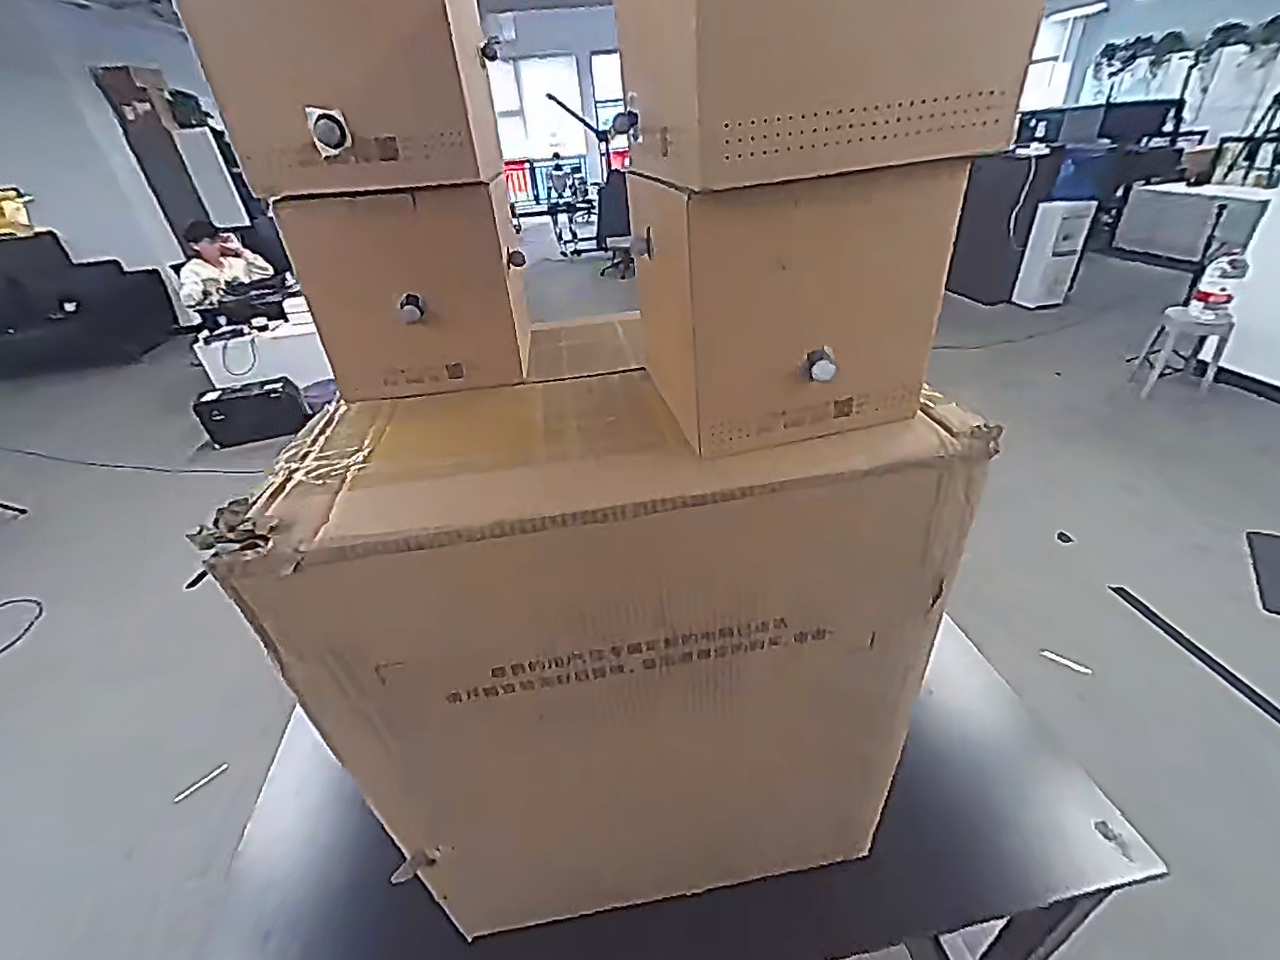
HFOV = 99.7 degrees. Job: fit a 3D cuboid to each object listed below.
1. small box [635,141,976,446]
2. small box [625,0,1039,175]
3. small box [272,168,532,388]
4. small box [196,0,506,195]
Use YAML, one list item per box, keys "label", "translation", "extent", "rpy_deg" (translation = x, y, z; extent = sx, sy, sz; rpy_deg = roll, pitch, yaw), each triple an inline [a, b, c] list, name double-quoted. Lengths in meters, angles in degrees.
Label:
- label: "small box"
  translation: [0.097, -0.145, 0.400]
  extent: [0.168, 0.176, 0.179]
  rpy_deg: [-12, 34, -6]
- label: "small box"
  translation: [0.090, -0.269, 0.289]
  extent: [0.179, 0.176, 0.168]
  rpy_deg: [-12, 35, -8]
- label: "small box"
  translation: [-0.200, -0.194, 0.519]
  extent: [0.168, 0.176, 0.179]
  rpy_deg: [-7, 33, -5]
- label: "small box"
  translation: [-0.206, -0.323, 0.418]
  extent: [0.168, 0.176, 0.179]
  rpy_deg: [-8, 33, -3]
